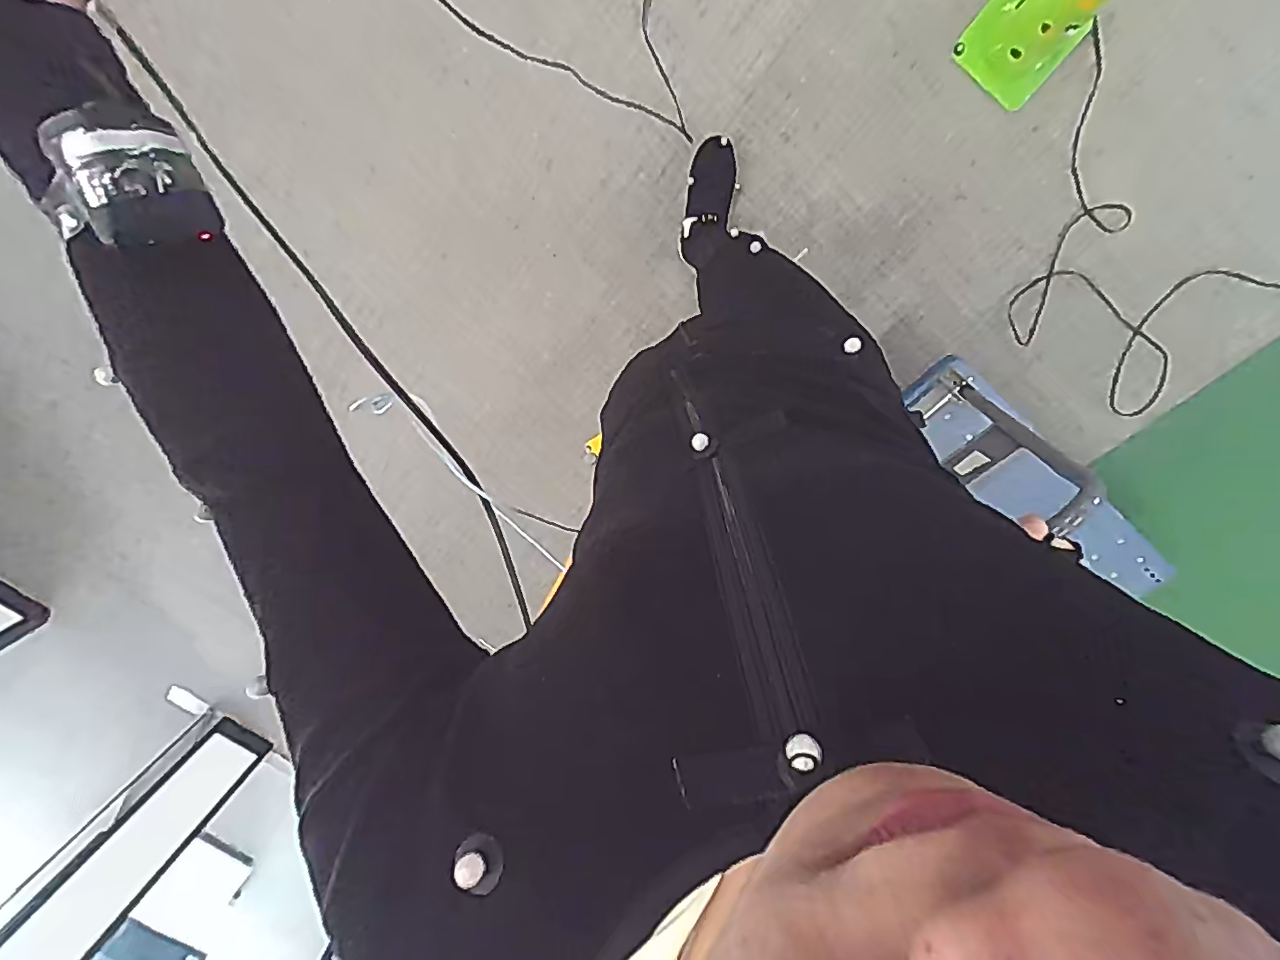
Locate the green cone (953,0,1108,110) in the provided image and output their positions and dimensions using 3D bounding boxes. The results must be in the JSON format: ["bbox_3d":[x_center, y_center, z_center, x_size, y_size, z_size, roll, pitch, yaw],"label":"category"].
[{"bbox_3d":[0.766,-0.850,0.969,0.200,0.368,0.202,35,115,-7],"label":"green cone"}]
